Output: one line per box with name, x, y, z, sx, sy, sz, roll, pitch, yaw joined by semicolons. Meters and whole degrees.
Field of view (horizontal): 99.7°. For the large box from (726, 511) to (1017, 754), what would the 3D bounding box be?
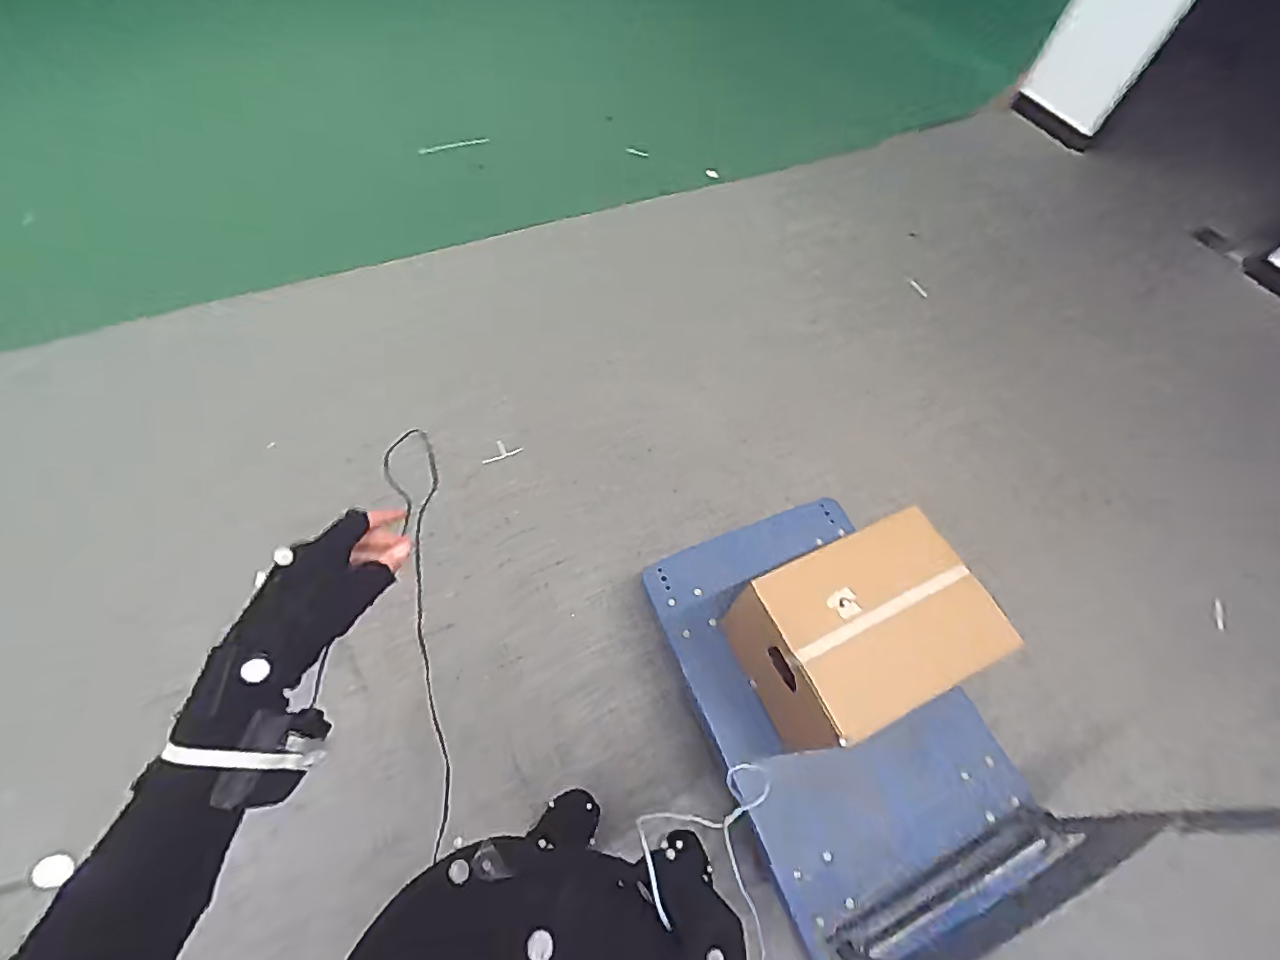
large box;0.449;0.326;1.136;0.408;0.320;0.320;-22;64;-15
